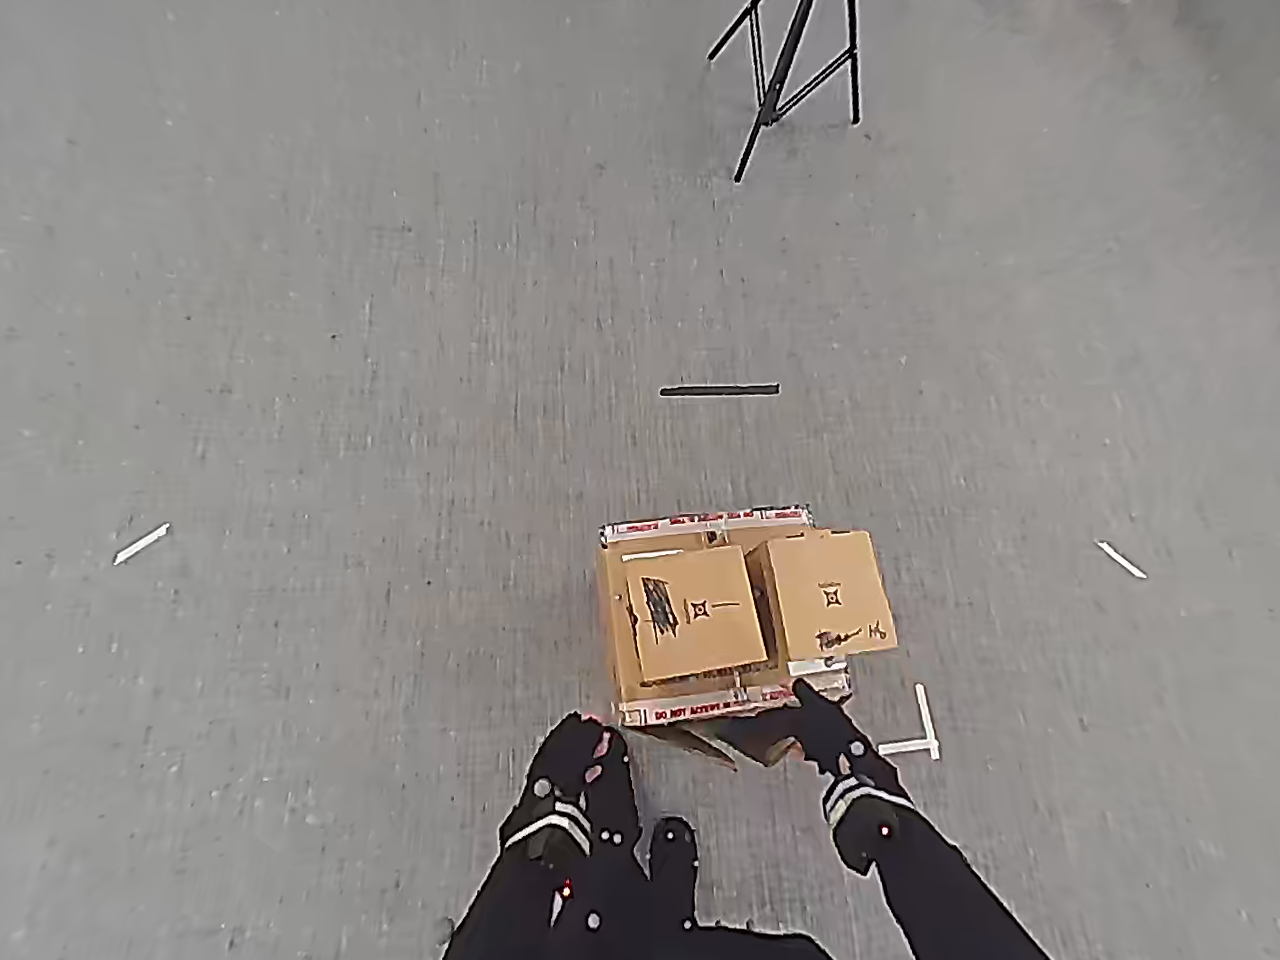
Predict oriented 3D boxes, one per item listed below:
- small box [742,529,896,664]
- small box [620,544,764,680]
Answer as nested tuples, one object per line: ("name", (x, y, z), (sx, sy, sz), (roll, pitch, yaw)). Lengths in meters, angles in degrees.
("small box", (0.261, 0.187, 0.849), (0.168, 0.176, 0.179), (-4, 70, -9))
("small box", (0.066, 0.206, 0.821), (0.179, 0.176, 0.168), (-7, 71, -8))
